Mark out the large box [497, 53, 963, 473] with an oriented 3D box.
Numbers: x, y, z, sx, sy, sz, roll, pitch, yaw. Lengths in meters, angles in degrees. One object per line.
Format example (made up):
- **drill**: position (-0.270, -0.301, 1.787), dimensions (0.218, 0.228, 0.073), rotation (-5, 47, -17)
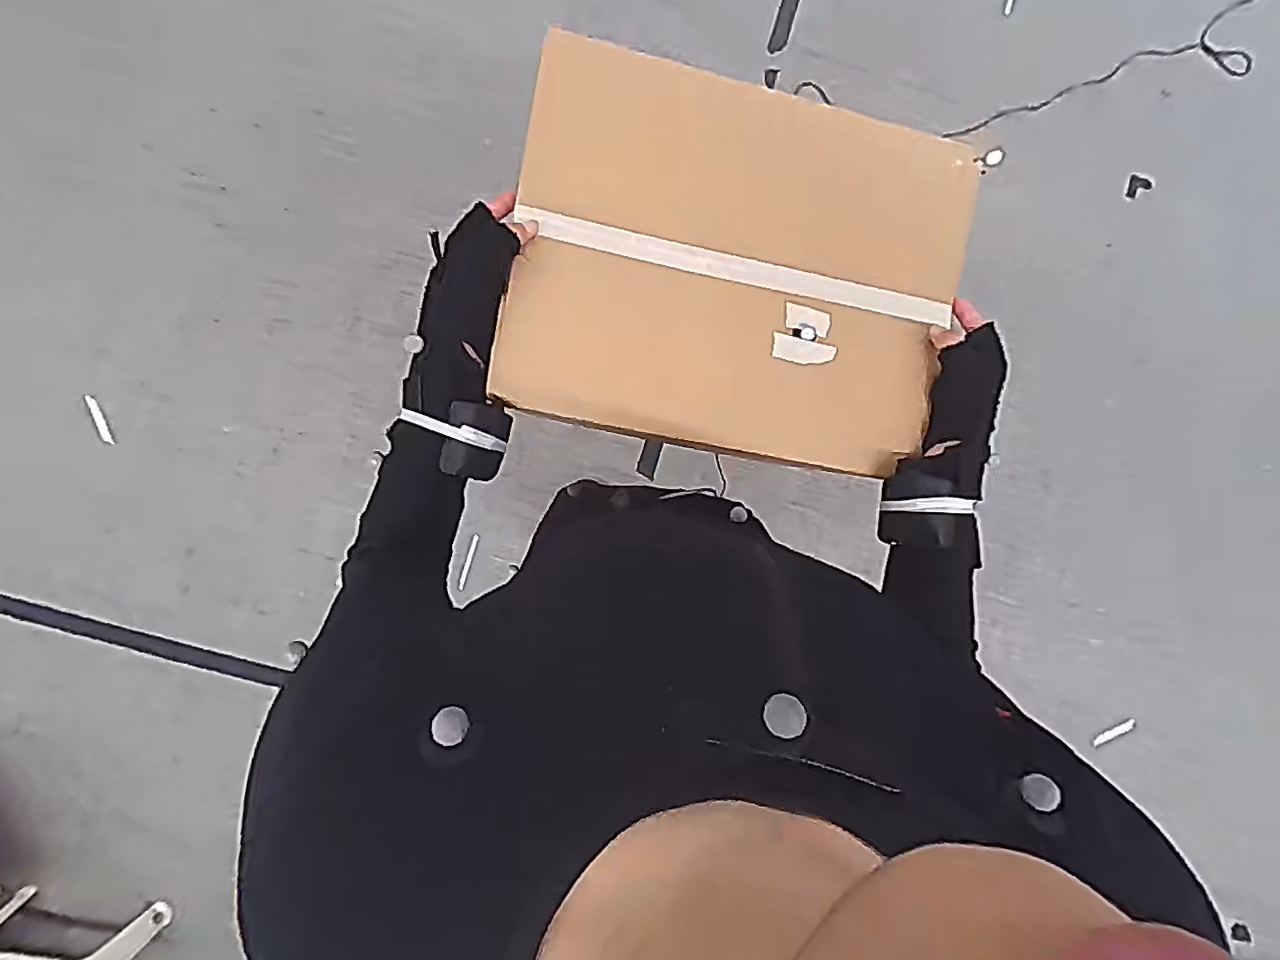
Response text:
- **large box**: position (0.071, -0.200, 0.644), dimensions (0.408, 0.320, 0.320), rotation (10, 95, -8)
